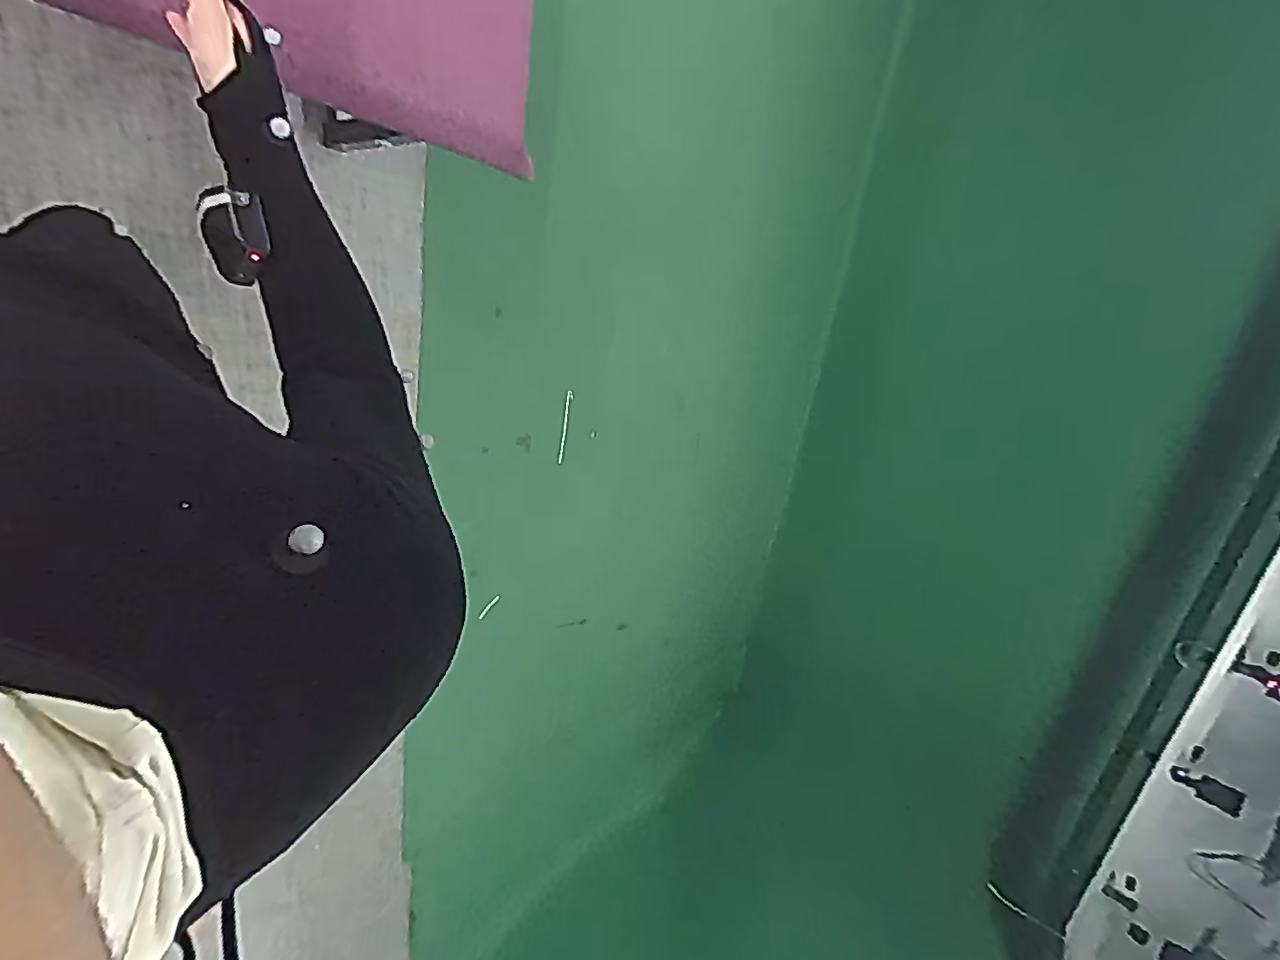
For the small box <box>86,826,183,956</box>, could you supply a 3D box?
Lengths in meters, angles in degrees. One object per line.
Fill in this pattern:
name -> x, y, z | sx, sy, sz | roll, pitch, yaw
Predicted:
small box -> -1.335, 1.072, 1.428 | 0.168, 0.176, 0.179 | -5, 113, -51
